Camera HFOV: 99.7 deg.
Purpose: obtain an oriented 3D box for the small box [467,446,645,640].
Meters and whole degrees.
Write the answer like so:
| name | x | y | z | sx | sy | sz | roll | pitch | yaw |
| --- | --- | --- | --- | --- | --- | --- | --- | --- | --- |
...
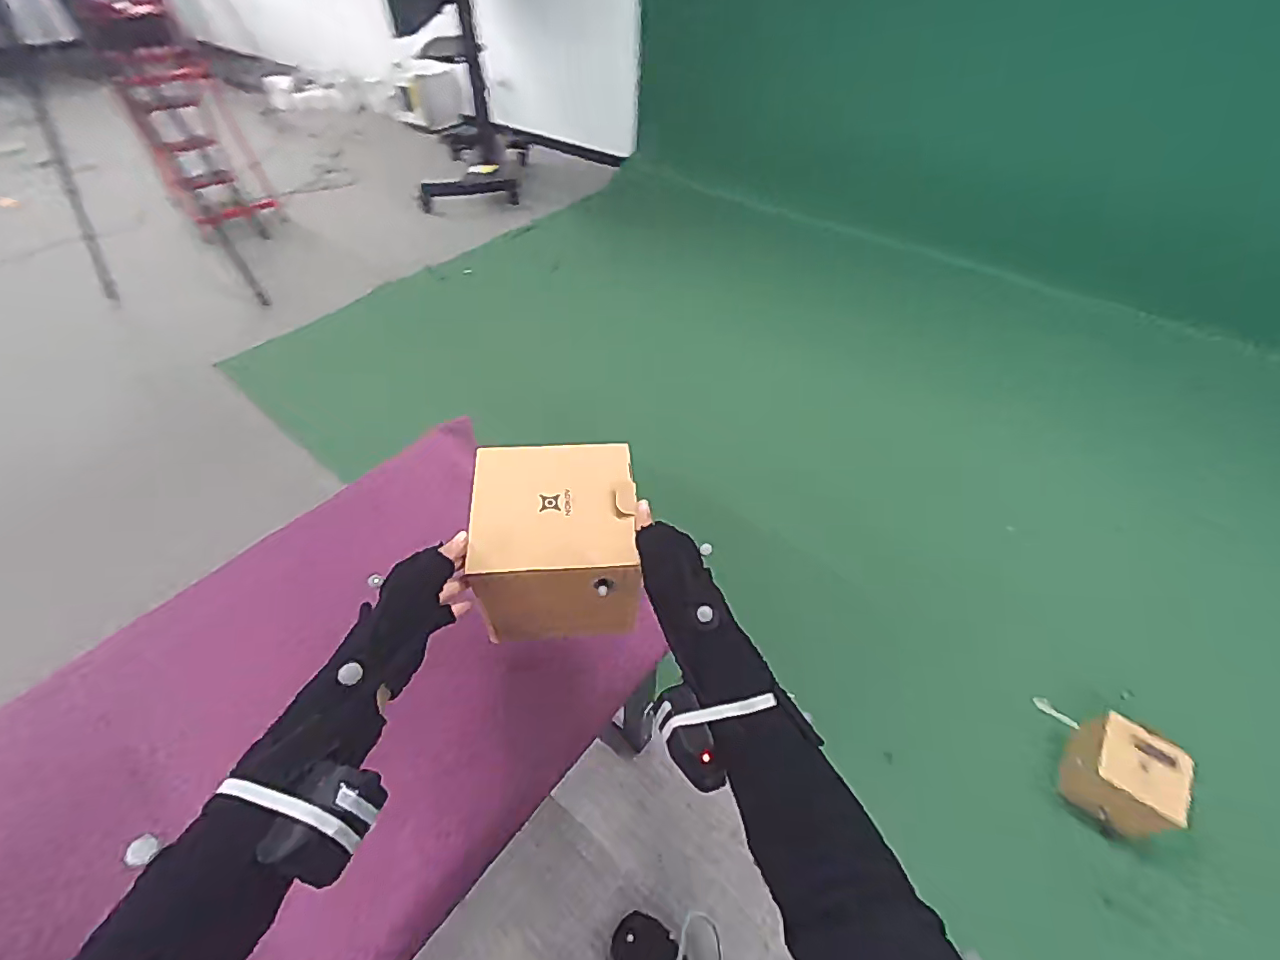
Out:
| name | x | y | z | sx | sy | sz | roll | pitch | yaw |
| --- | --- | --- | --- | --- | --- | --- | --- | --- | --- |
| small box | -0.091 | 0.078 | 0.635 | 0.179 | 0.176 | 0.168 | -2 | 51 | -6 |
